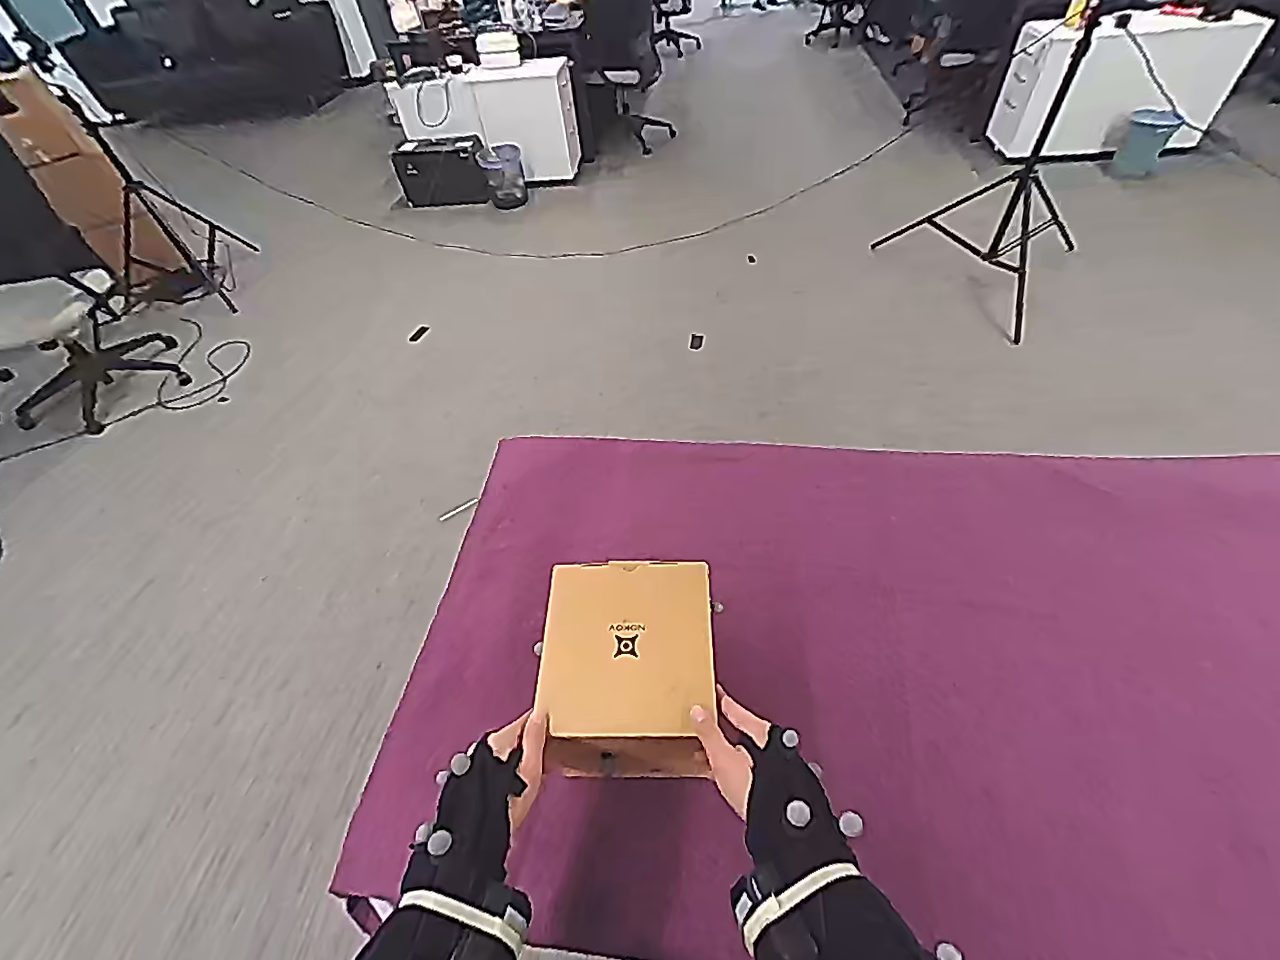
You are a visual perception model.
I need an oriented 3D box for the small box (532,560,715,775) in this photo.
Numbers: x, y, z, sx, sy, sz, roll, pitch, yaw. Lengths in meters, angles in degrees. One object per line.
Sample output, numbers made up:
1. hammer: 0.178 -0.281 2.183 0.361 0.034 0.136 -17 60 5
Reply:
1. small box: -0.006 0.206 0.581 0.168 0.176 0.179 -2 49 4
